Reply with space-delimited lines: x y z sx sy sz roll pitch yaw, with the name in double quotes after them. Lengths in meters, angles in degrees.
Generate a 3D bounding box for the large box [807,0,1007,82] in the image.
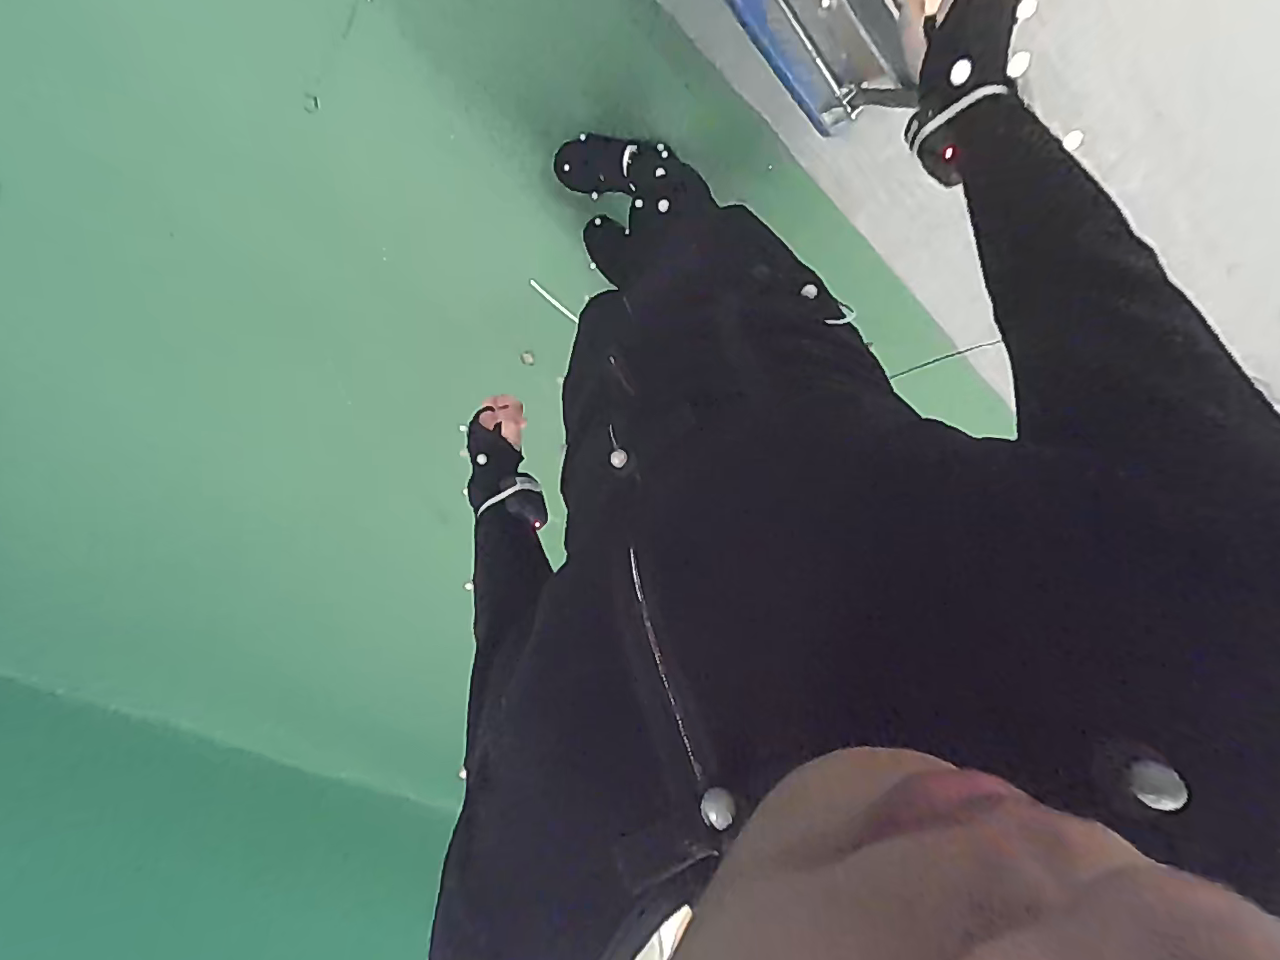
0.487 -0.939 0.846 0.320 0.320 0.408 37 112 -25 "large box"
